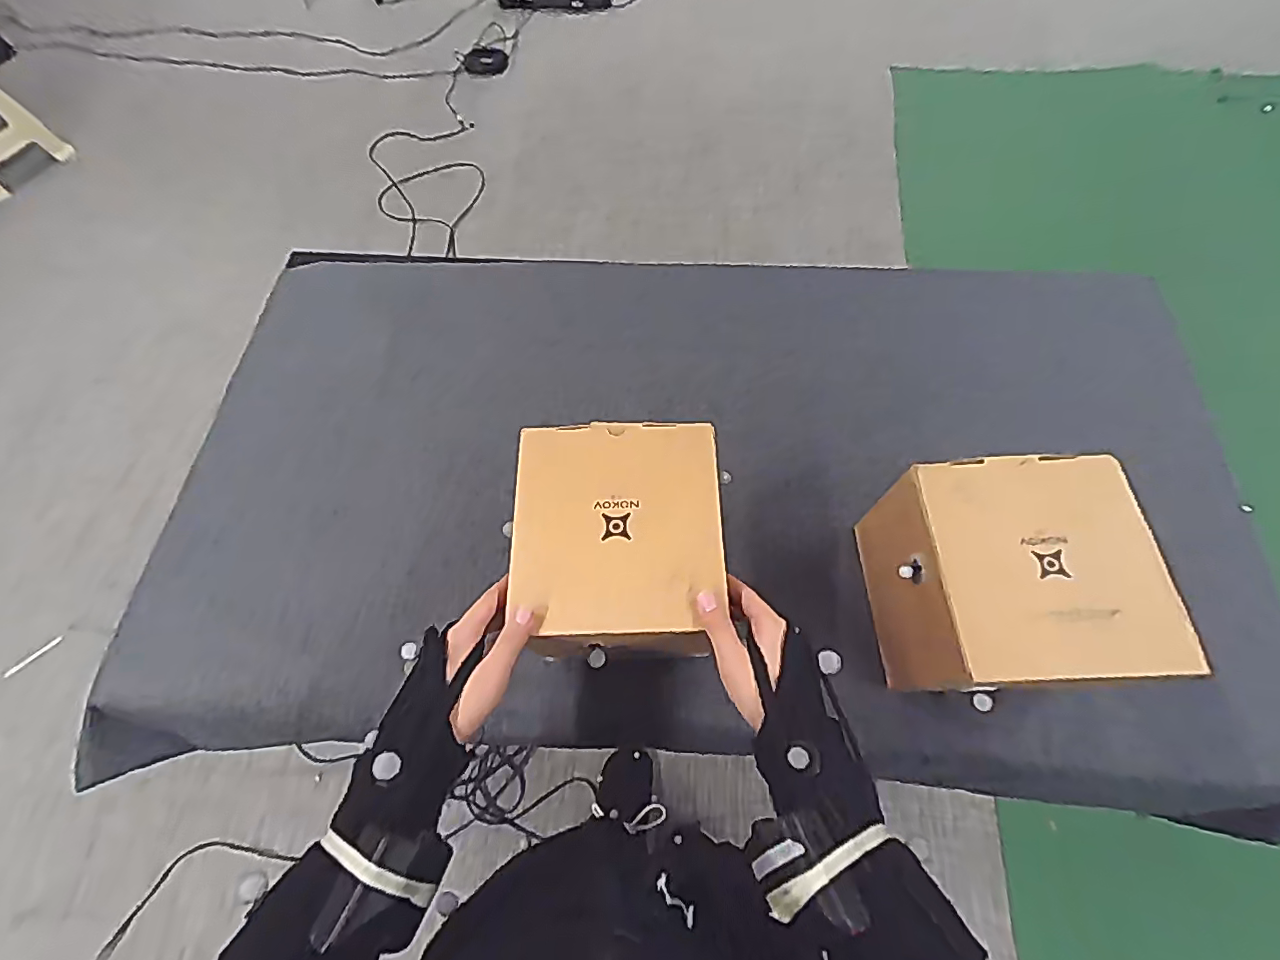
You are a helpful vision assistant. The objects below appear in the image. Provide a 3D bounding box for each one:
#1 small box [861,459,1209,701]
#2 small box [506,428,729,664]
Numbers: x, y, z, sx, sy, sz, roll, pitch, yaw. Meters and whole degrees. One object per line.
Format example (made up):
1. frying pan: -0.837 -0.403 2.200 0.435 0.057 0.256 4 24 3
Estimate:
1. small box: 0.319 0.098 0.489 0.168 0.176 0.179 -4 65 2
2. small box: -0.015 0.070 0.493 0.168 0.176 0.179 -2 64 0
